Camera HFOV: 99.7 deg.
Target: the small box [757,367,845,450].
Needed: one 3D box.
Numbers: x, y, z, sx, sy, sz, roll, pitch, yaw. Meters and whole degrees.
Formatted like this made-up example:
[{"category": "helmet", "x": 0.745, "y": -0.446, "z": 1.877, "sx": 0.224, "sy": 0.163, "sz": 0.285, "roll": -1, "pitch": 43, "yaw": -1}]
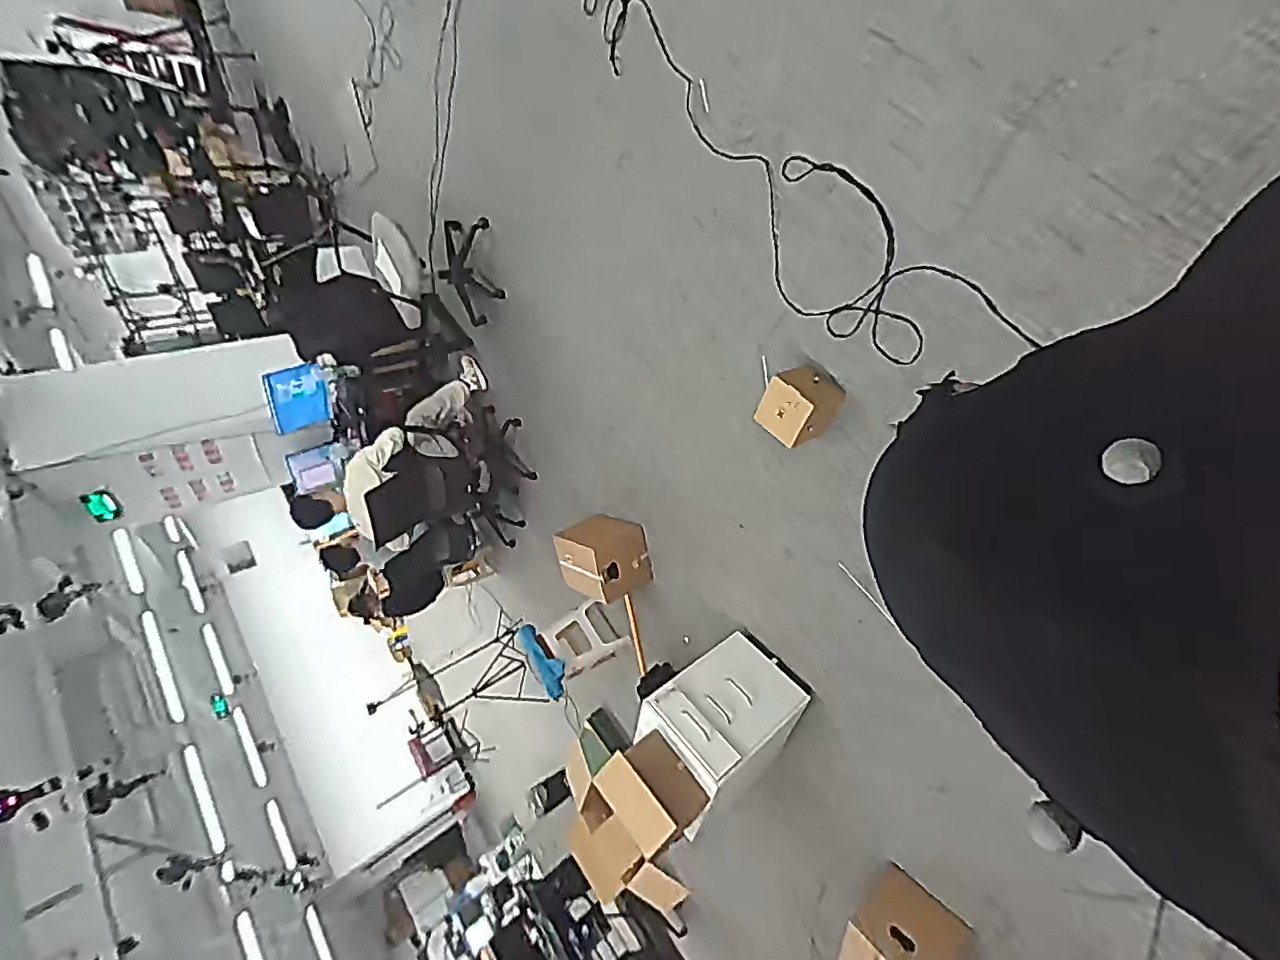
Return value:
[{"category": "small box", "x": 0.505, "y": -0.227, "z": 1.692, "sx": 0.168, "sy": 0.176, "sz": 0.179, "roll": 47, "pitch": 141, "yaw": 27}]
